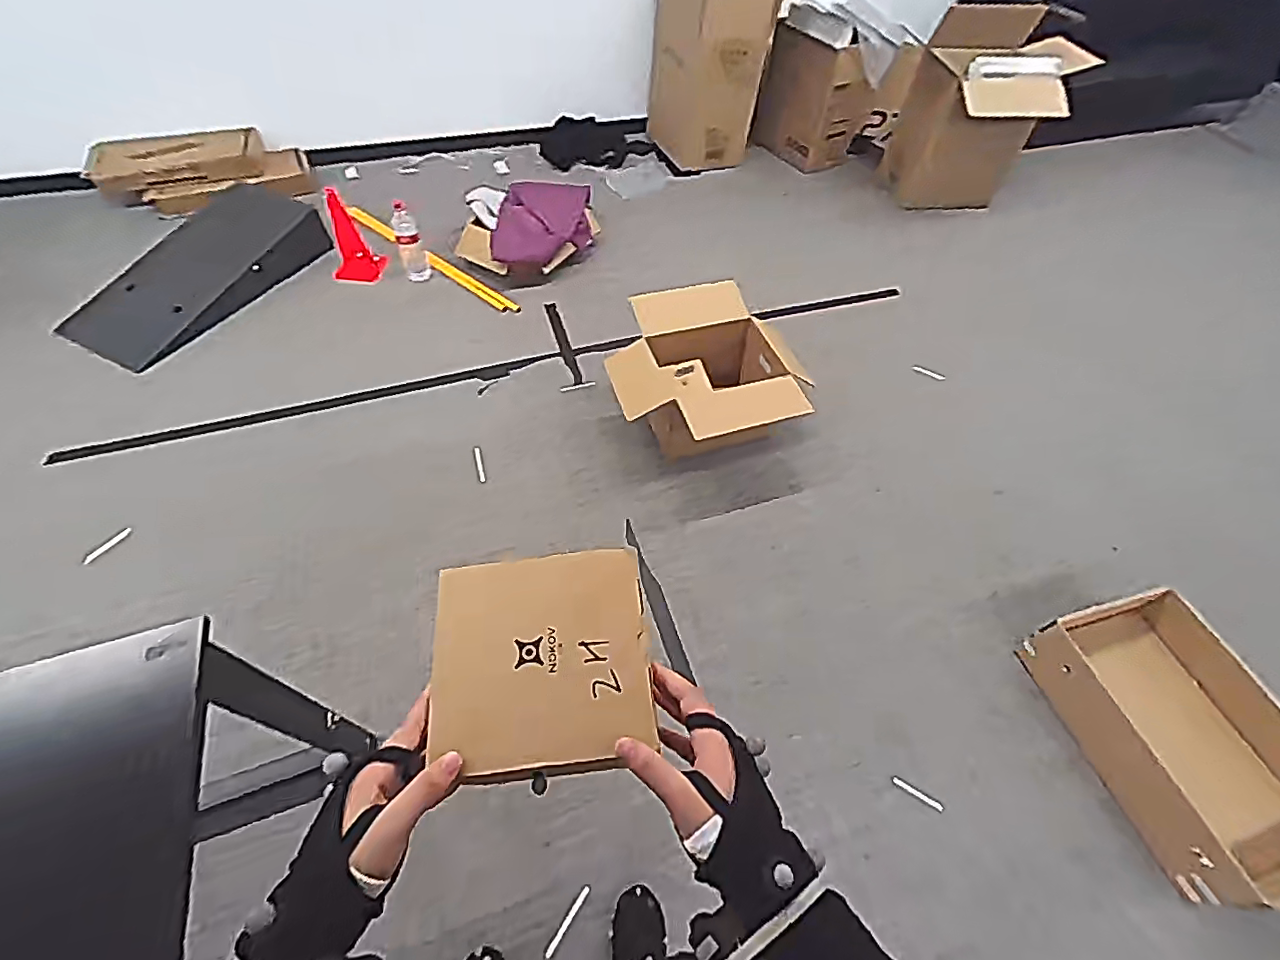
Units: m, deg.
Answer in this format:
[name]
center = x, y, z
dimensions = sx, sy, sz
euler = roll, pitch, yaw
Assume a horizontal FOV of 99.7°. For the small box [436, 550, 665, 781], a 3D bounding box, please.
[small box]
center = -0.072, 0.182, 0.513
dimensions = 0.179, 0.176, 0.168
euler = -7, 60, -2
